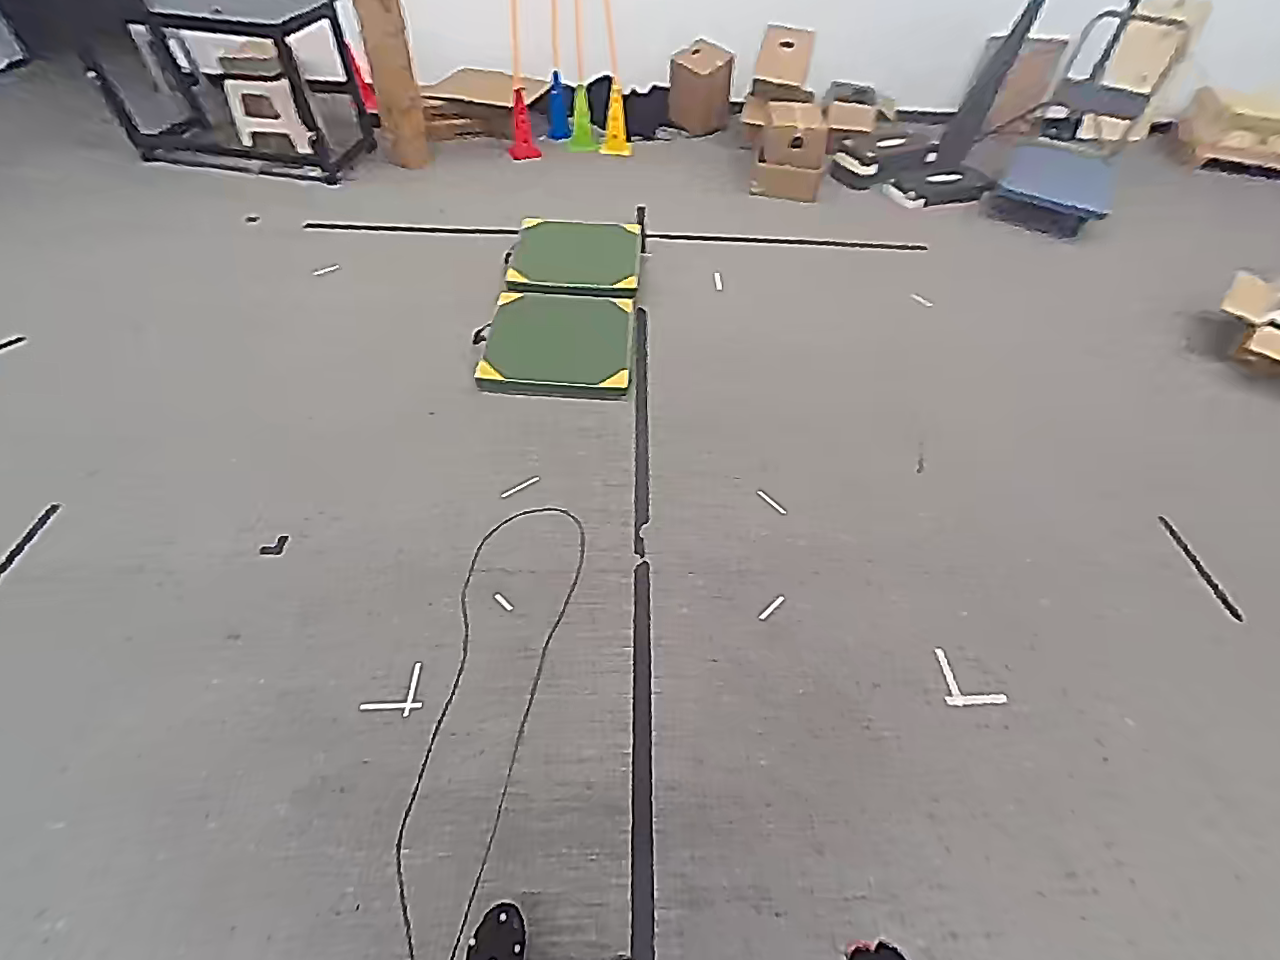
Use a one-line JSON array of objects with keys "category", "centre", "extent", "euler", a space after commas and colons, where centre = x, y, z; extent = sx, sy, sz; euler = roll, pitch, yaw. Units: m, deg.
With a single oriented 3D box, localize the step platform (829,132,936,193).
[{"category": "step platform", "centre": [1.583, -2.074, 3.517], "extent": [0.684, 0.204, 0.286], "euler": [-22, 57, -19]}]
